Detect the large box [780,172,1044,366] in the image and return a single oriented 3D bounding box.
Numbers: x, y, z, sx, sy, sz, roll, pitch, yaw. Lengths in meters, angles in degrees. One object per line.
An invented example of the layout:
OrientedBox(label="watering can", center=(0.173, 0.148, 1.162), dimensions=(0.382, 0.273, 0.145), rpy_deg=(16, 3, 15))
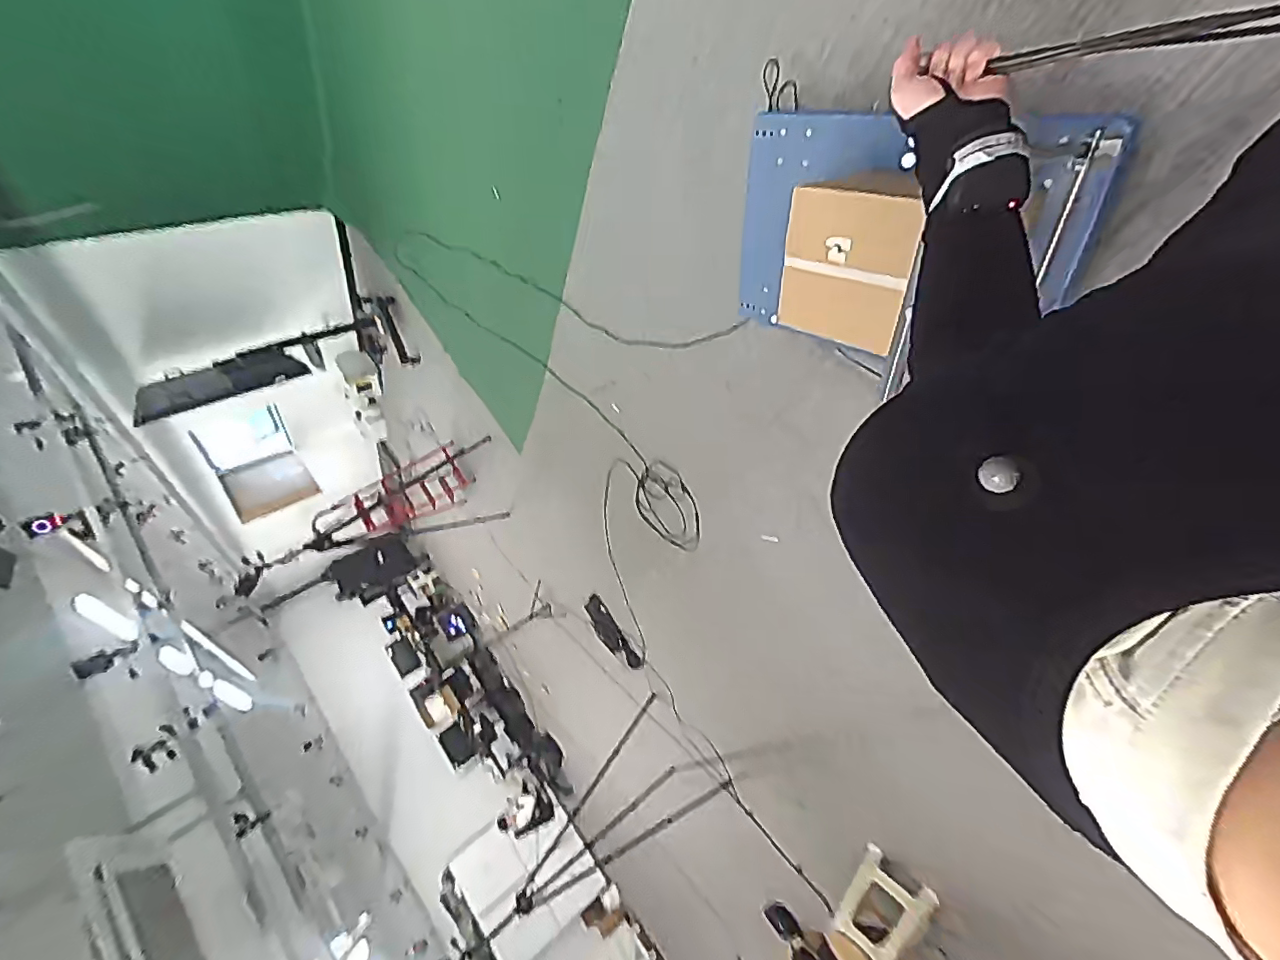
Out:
OrientedBox(label="large box", center=(0.590, -0.498, 1.226), dimensions=(0.408, 0.320, 0.320), rpy_deg=(33, 137, 38))
